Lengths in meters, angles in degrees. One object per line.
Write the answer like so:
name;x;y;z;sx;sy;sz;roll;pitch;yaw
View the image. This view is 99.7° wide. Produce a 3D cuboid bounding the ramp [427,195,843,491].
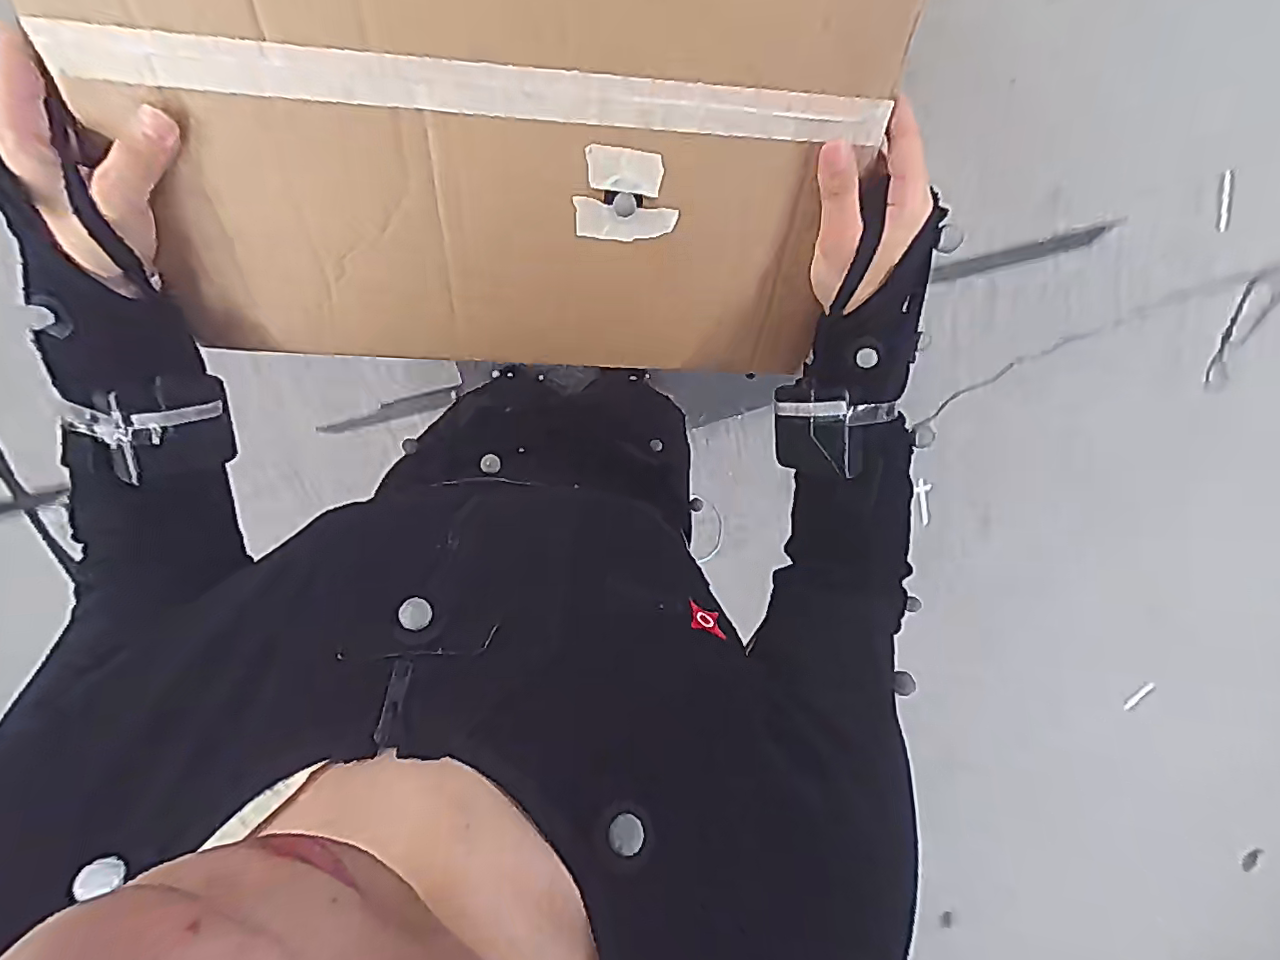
ramp;0.043;-0.352;1.367;0.991;0.206;0.509;-17;107;1
